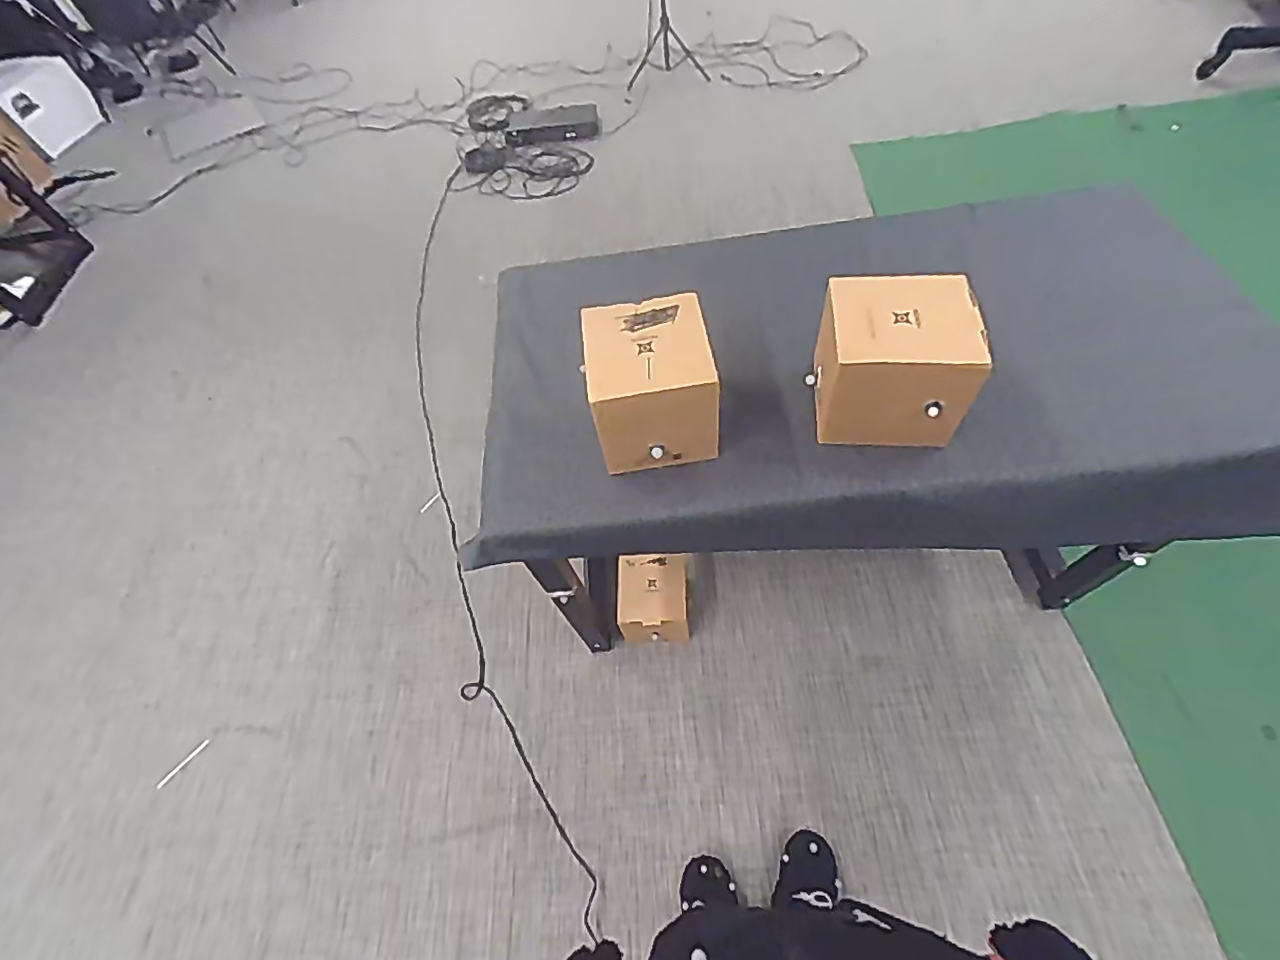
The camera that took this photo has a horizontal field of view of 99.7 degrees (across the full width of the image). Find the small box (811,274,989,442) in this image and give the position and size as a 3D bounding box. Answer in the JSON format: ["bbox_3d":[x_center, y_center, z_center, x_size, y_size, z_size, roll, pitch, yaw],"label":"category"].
[{"bbox_3d":[0.346,-0.166,0.760,0.179,0.176,0.168,1,57,9],"label":"small box"}]

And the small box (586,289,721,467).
[{"bbox_3d":[0.018,-0.143,0.782,0.168,0.176,0.179,-9,57,2],"label":"small box"}]
